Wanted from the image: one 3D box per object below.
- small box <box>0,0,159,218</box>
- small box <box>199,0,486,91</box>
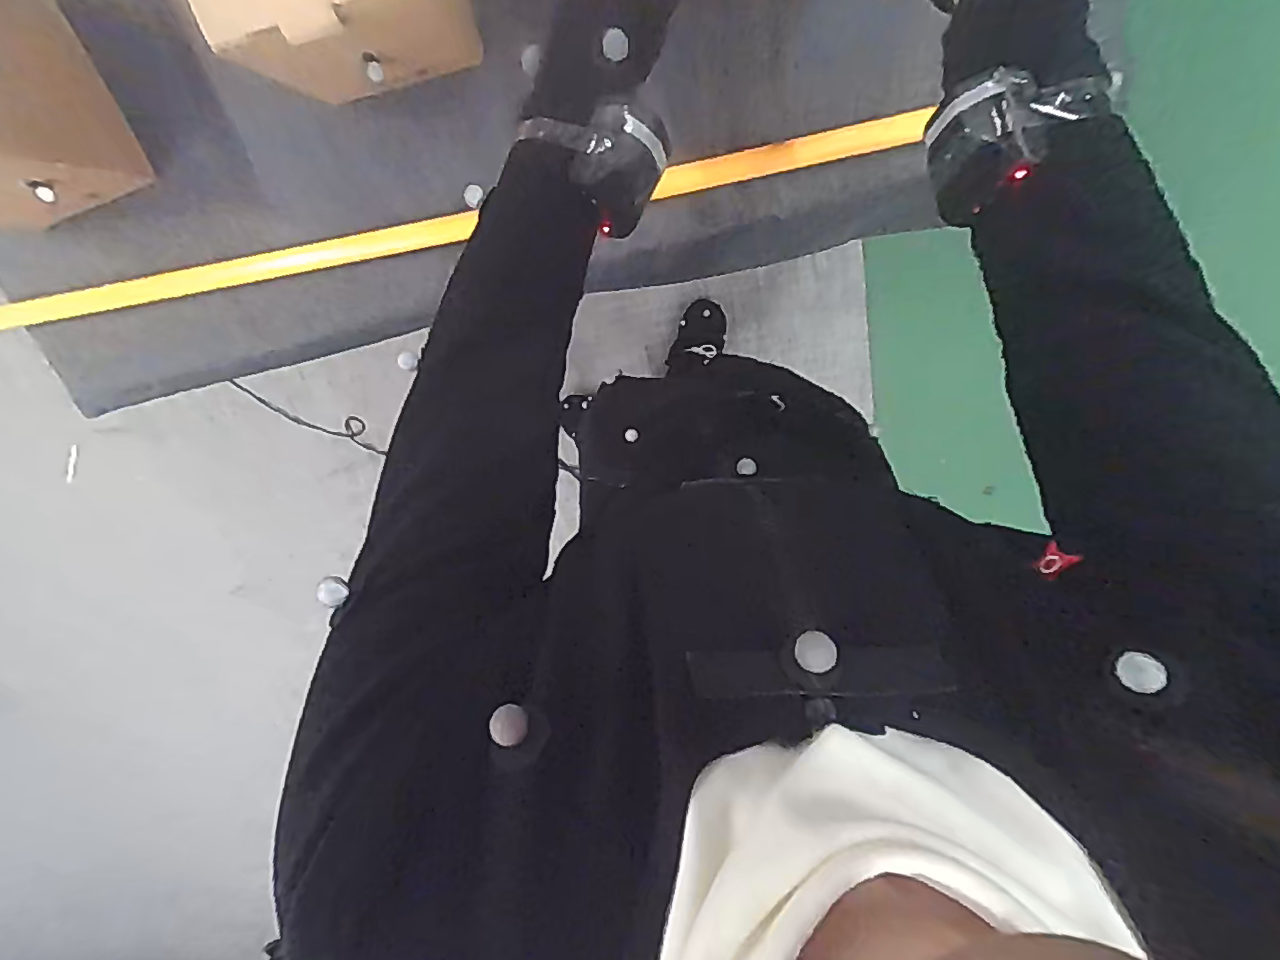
[{"bbox_3d":[-0.617,-0.355,0.497,0.168,0.176,0.179,-16,110,9],"label":"small box"},{"bbox_3d":[-0.248,-0.444,0.433,0.168,0.176,0.179,-12,111,11],"label":"small box"}]
